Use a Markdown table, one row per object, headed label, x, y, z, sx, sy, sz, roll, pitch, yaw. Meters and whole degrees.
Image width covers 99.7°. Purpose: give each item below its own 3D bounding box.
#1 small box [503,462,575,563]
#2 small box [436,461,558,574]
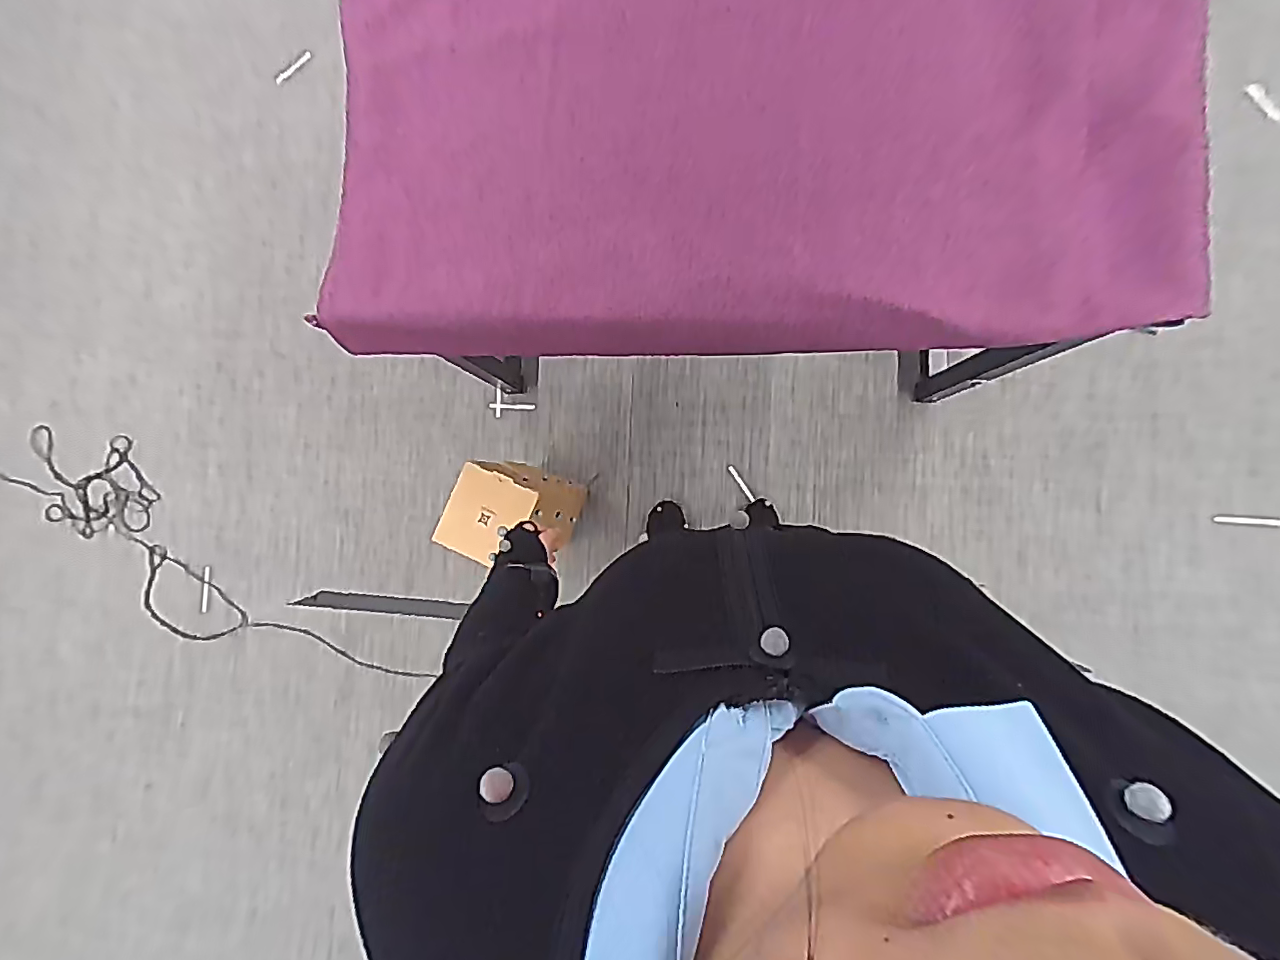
| label | x | y | z | sx | sy | sz | roll | pitch | yaw |
| --- | --- | --- | --- | --- | --- | --- | --- | --- | --- |
| small box | -0.272 | 0.073 | 1.298 | 0.168 | 0.176 | 0.179 | 31 | 92 | 5 |
| small box | -0.290 | 0.075 | 1.136 | 0.168 | 0.176 | 0.179 | 23 | 90 | 5 |
